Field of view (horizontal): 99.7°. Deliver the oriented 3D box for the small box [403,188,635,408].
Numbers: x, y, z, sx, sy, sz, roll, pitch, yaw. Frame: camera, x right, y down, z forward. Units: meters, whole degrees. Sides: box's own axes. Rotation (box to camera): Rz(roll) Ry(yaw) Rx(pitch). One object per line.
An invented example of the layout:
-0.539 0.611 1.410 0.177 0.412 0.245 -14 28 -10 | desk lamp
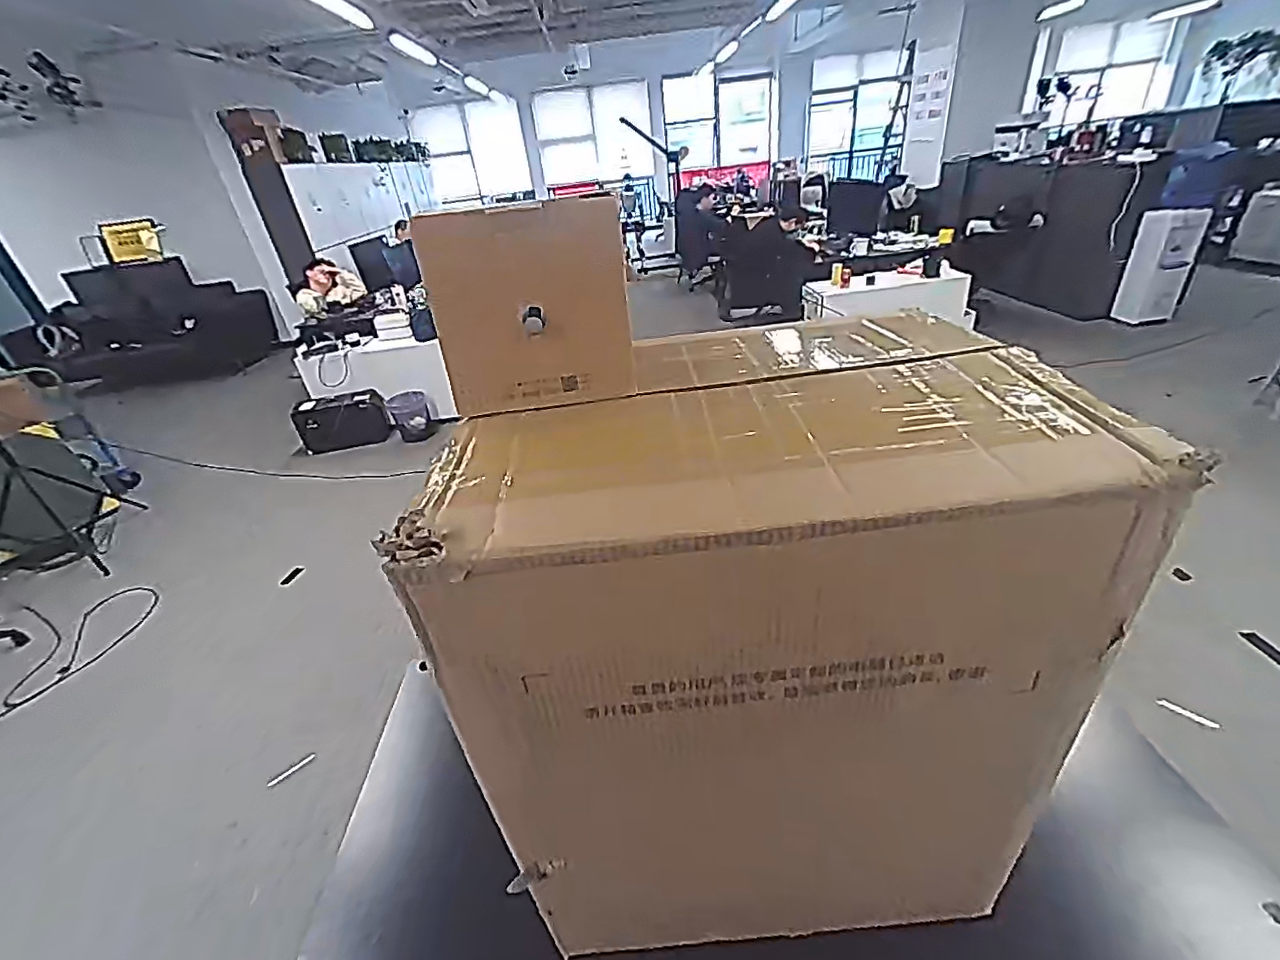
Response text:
-0.101 -0.175 0.524 0.168 0.176 0.179 -8 29 -3 | small box
